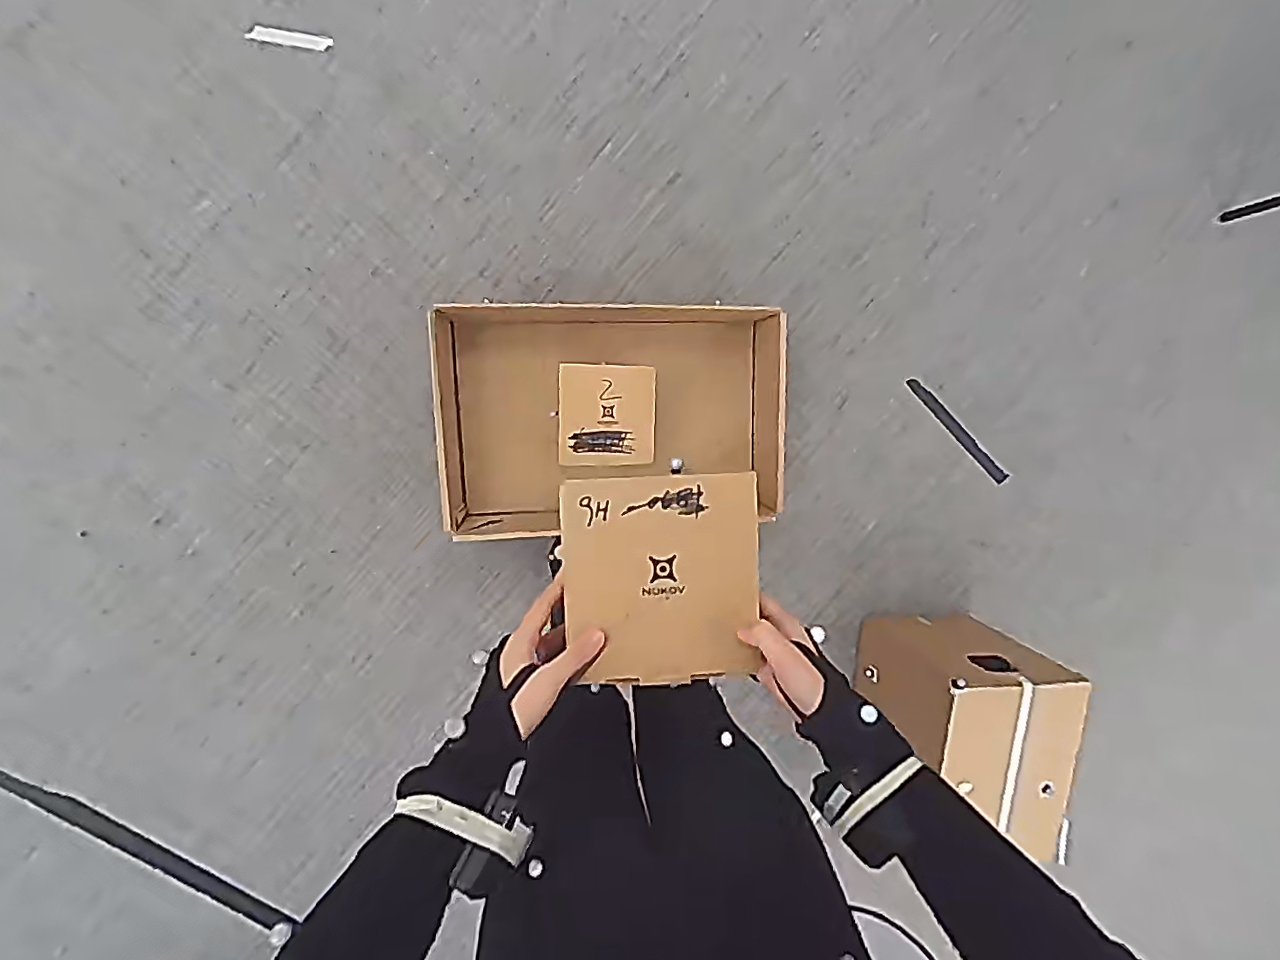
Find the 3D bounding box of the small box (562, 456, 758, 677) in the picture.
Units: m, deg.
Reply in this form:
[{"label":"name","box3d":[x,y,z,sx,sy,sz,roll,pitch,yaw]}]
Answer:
[{"label":"small box","box3d":[0.014,0.071,0.536,0.168,0.176,0.179,-2,96,-5]}]
